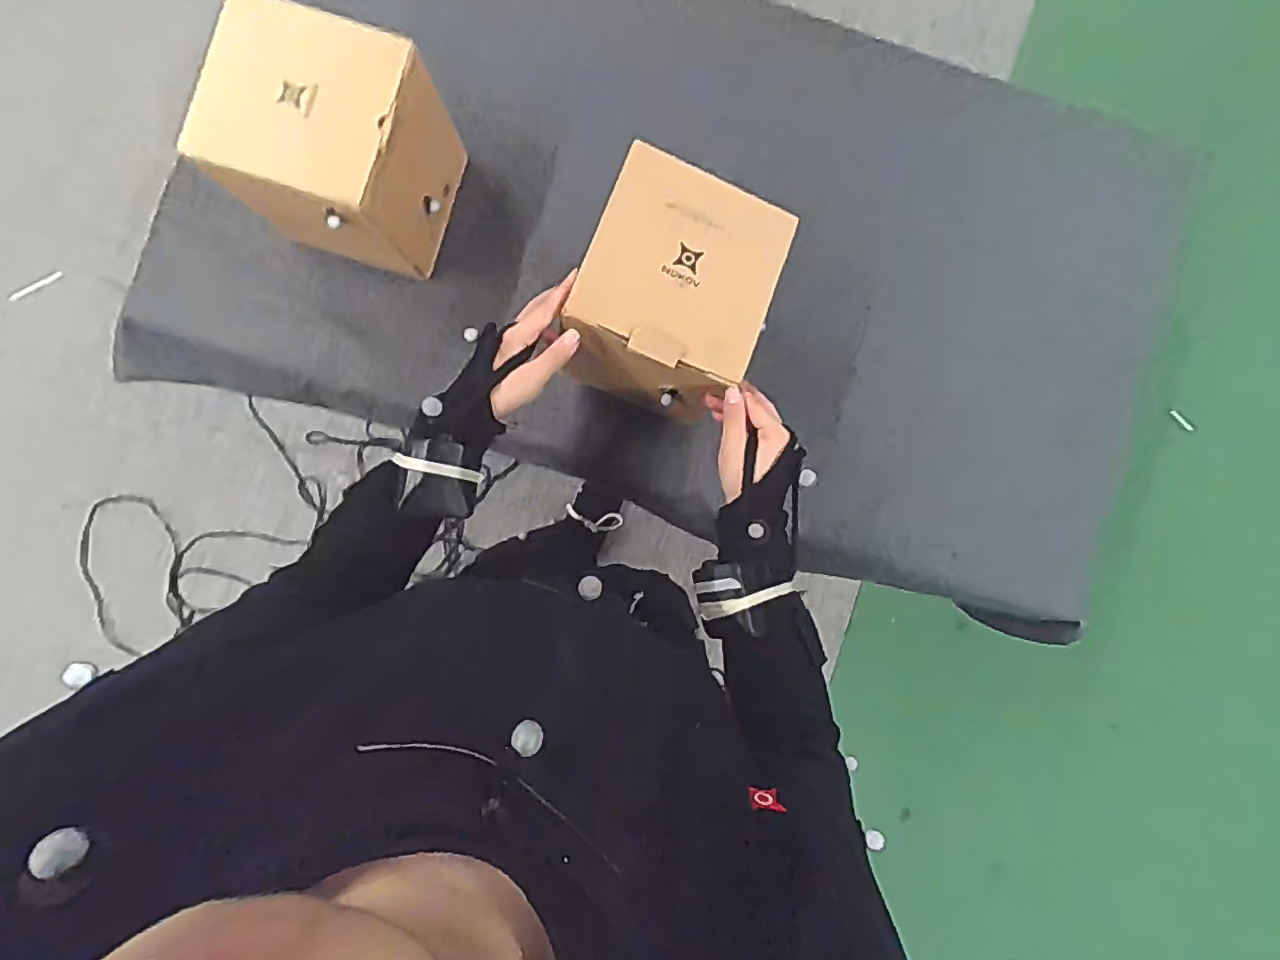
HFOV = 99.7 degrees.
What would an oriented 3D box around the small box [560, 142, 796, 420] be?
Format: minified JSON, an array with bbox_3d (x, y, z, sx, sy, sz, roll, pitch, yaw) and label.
[{"bbox_3d":[0.024,-0.177,0.544,0.168,0.176,0.179,21,81,-9],"label":"small box"}]

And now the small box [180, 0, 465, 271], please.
[{"bbox_3d":[-0.312,-0.347,0.571,0.179,0.176,0.168,16,88,-2],"label":"small box"}]
